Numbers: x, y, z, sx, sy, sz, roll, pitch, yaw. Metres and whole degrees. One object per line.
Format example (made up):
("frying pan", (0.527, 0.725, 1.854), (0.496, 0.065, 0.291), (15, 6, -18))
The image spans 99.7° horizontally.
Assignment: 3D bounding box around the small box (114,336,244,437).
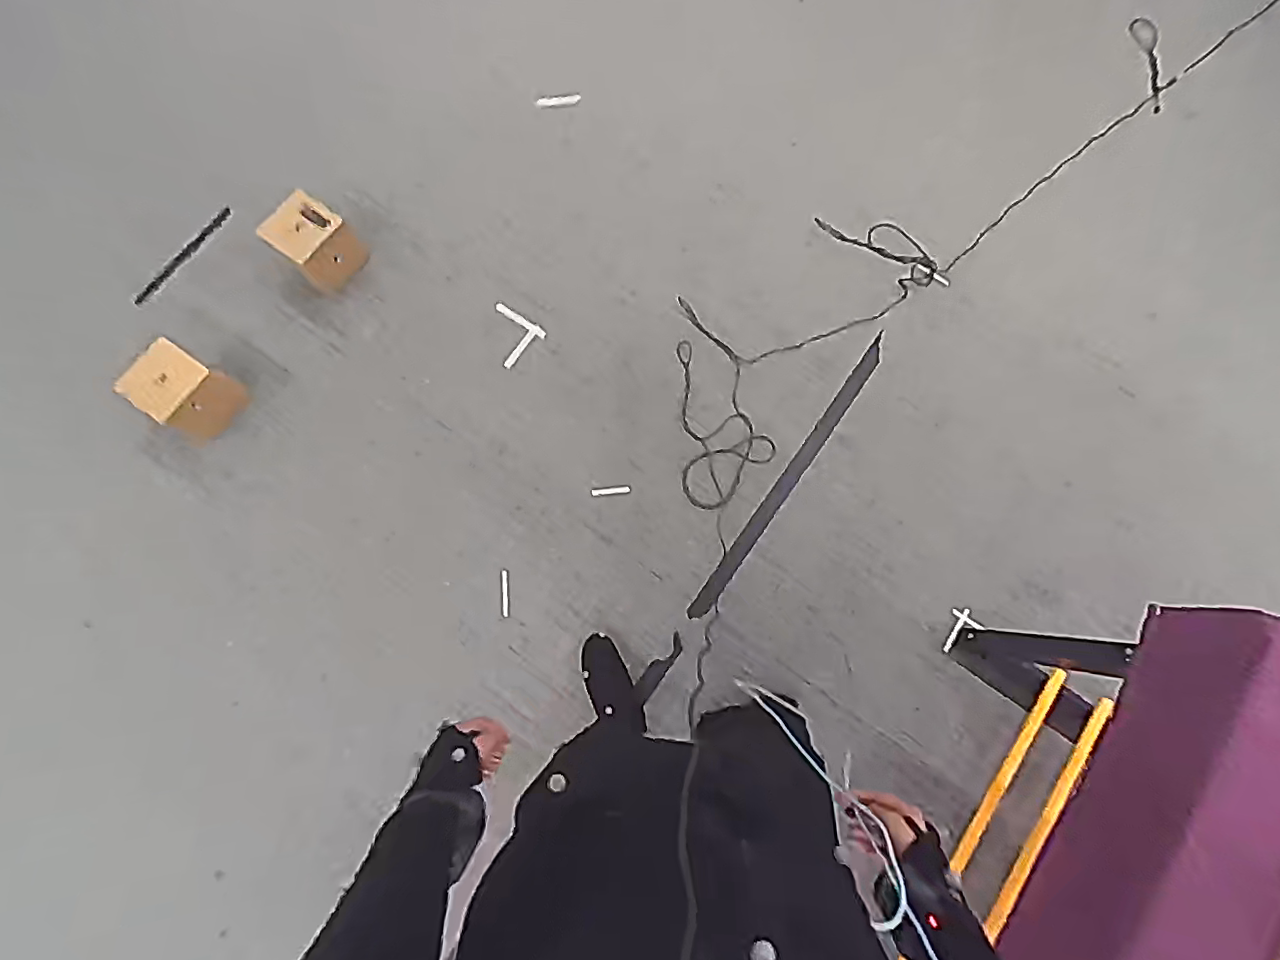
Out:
("small box", (-1.212, -0.243, 1.445), (0.168, 0.176, 0.179), (34, 80, 4))
